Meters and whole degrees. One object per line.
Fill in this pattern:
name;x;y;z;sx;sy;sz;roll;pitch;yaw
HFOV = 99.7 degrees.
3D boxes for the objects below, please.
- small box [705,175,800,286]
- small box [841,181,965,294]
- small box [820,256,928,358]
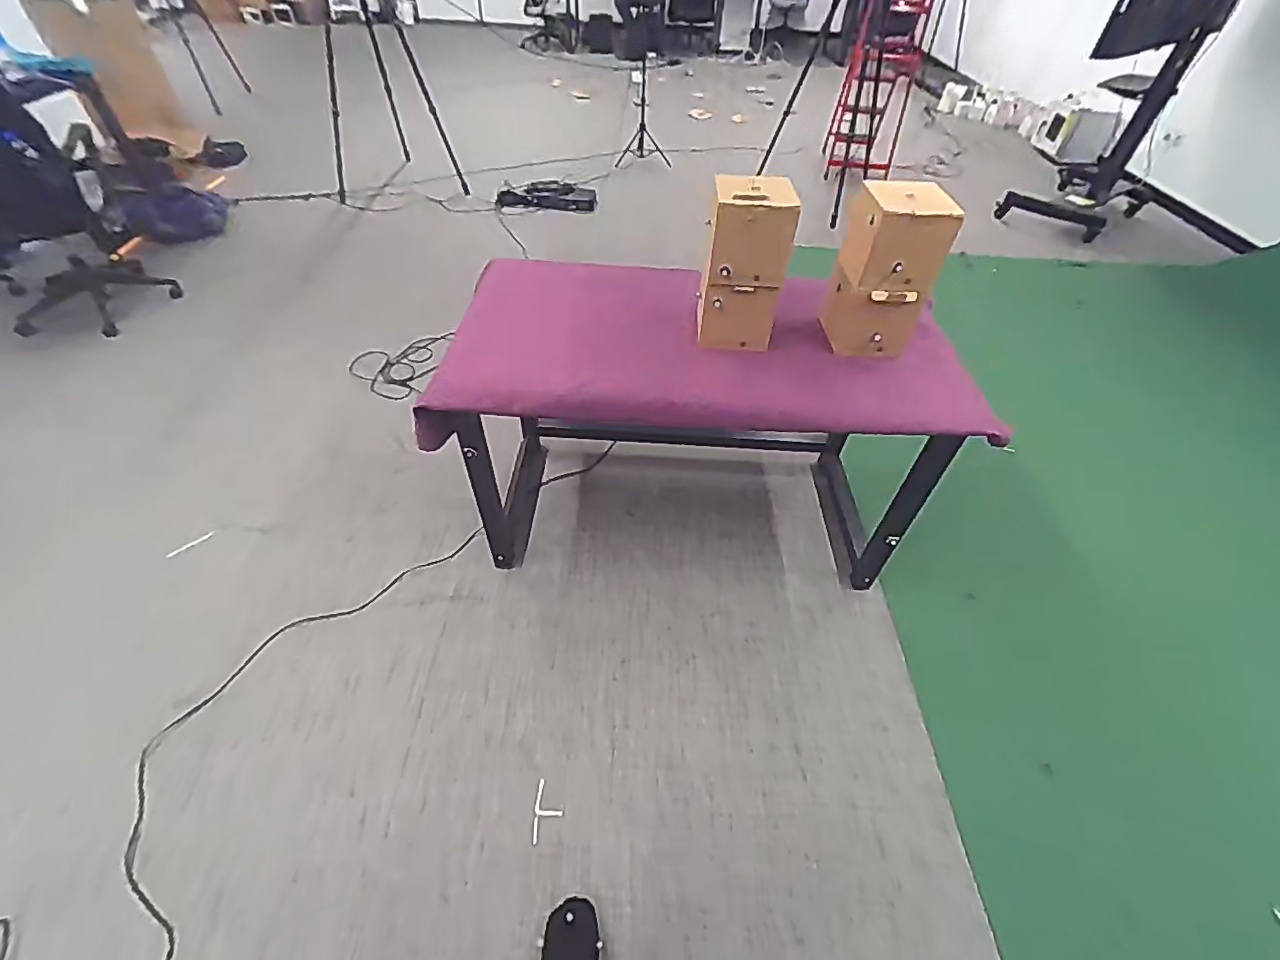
small box;0.234;-0.537;1.167;0.168;0.176;0.179;3;46;0
small box;0.558;-0.528;1.179;0.168;0.176;0.179;1;48;-2
small box;0.548;-0.415;1.297;0.168;0.176;0.179;1;48;-1
